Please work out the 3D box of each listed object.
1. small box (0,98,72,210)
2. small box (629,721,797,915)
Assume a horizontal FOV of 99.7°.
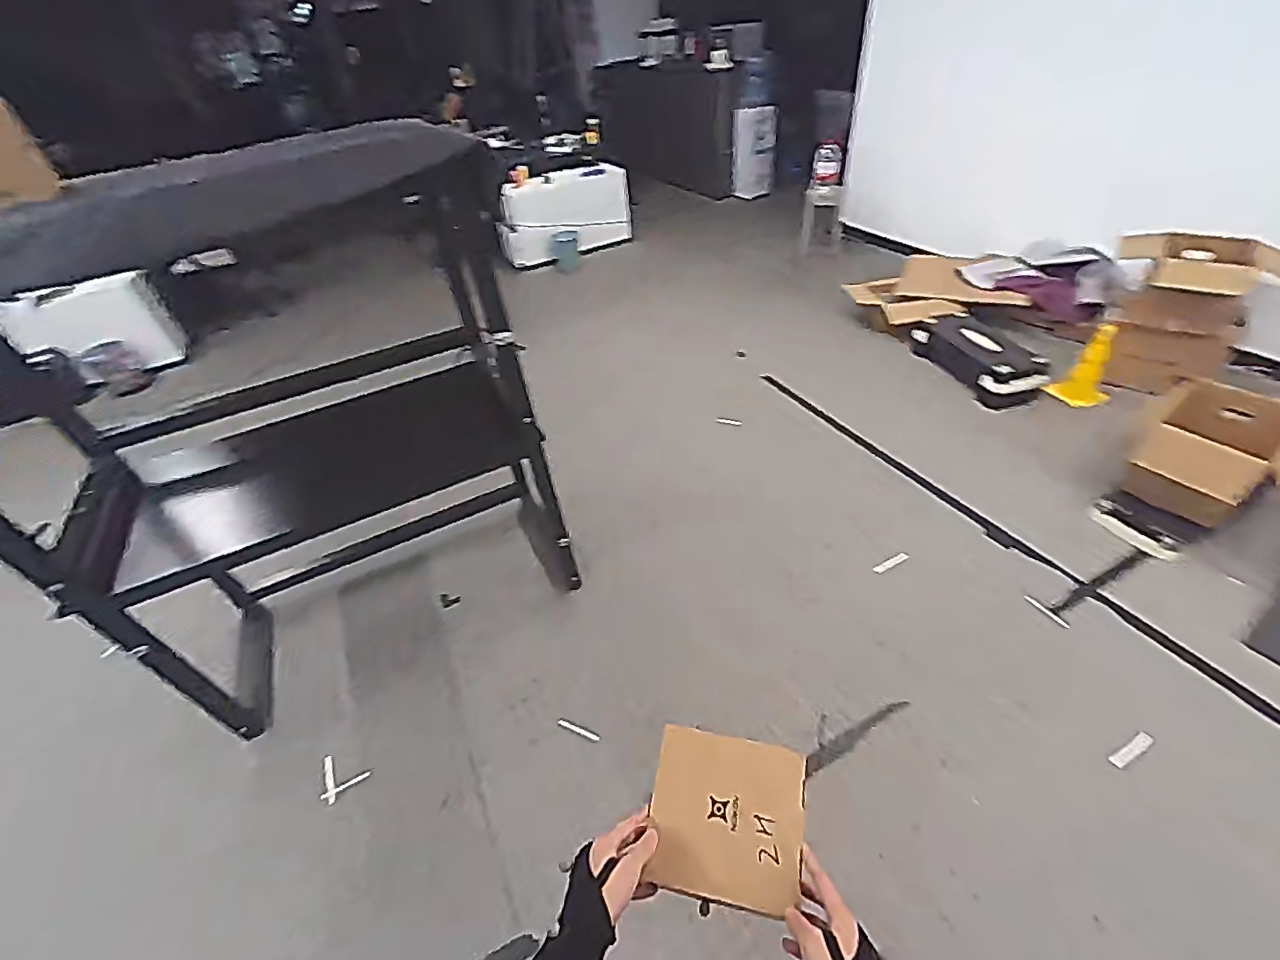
[{"bbox_3d":[-1.307,-0.649,1.084,0.168,0.176,0.179,-27,45,-20],"label":"small box"},{"bbox_3d":[0.094,0.425,0.679,0.179,0.176,0.168,7,53,11],"label":"small box"}]
